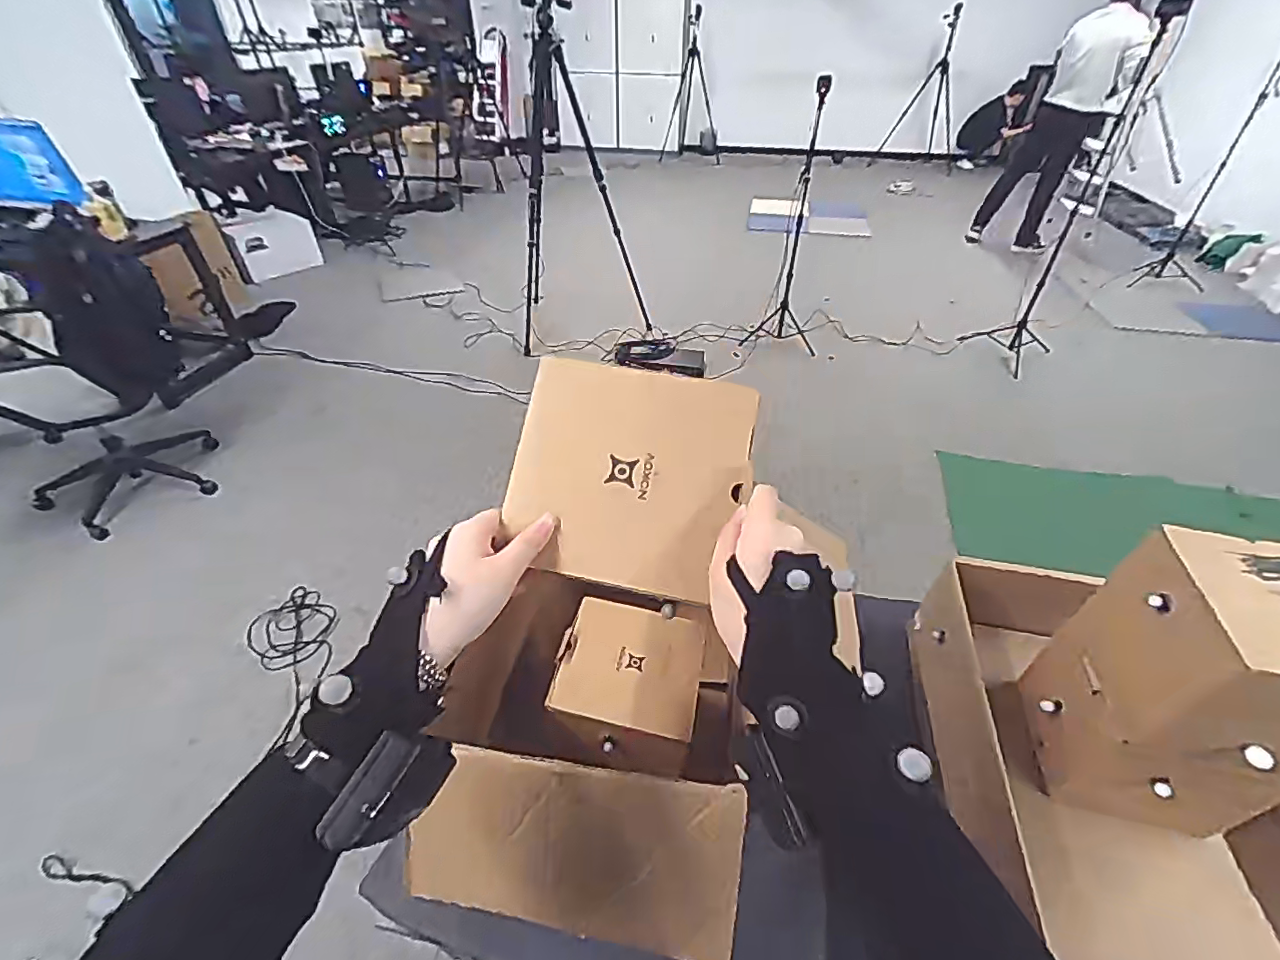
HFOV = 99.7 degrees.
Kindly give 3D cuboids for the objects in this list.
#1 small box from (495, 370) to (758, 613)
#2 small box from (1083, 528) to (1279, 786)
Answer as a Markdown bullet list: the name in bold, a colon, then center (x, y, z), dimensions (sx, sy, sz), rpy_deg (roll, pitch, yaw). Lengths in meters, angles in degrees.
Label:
- **small box**: center (-0.003, 0.022, 0.487), dimensions (0.179, 0.176, 0.168), rpy_deg (10, 75, 7)
- **small box**: center (0.609, 0.179, 0.555), dimensions (0.168, 0.176, 0.179), rpy_deg (9, 42, 11)
